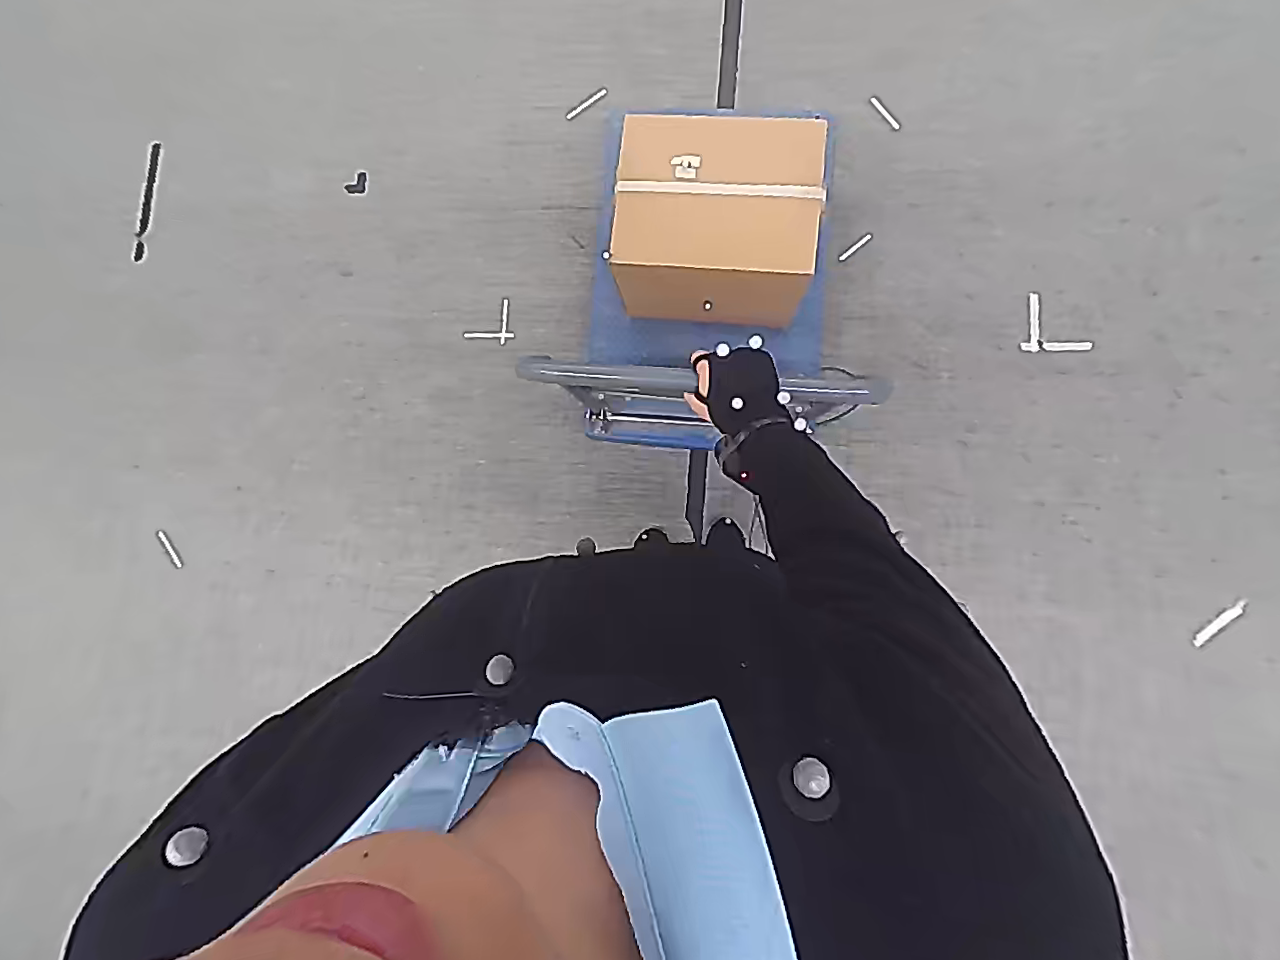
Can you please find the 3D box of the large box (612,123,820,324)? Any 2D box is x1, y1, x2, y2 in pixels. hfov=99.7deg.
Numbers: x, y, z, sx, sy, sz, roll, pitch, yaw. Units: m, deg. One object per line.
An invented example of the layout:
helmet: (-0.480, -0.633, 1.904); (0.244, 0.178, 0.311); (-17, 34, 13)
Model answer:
large box: (0.170, -0.559, 1.231); (0.408, 0.320, 0.320); (5, 86, 8)
